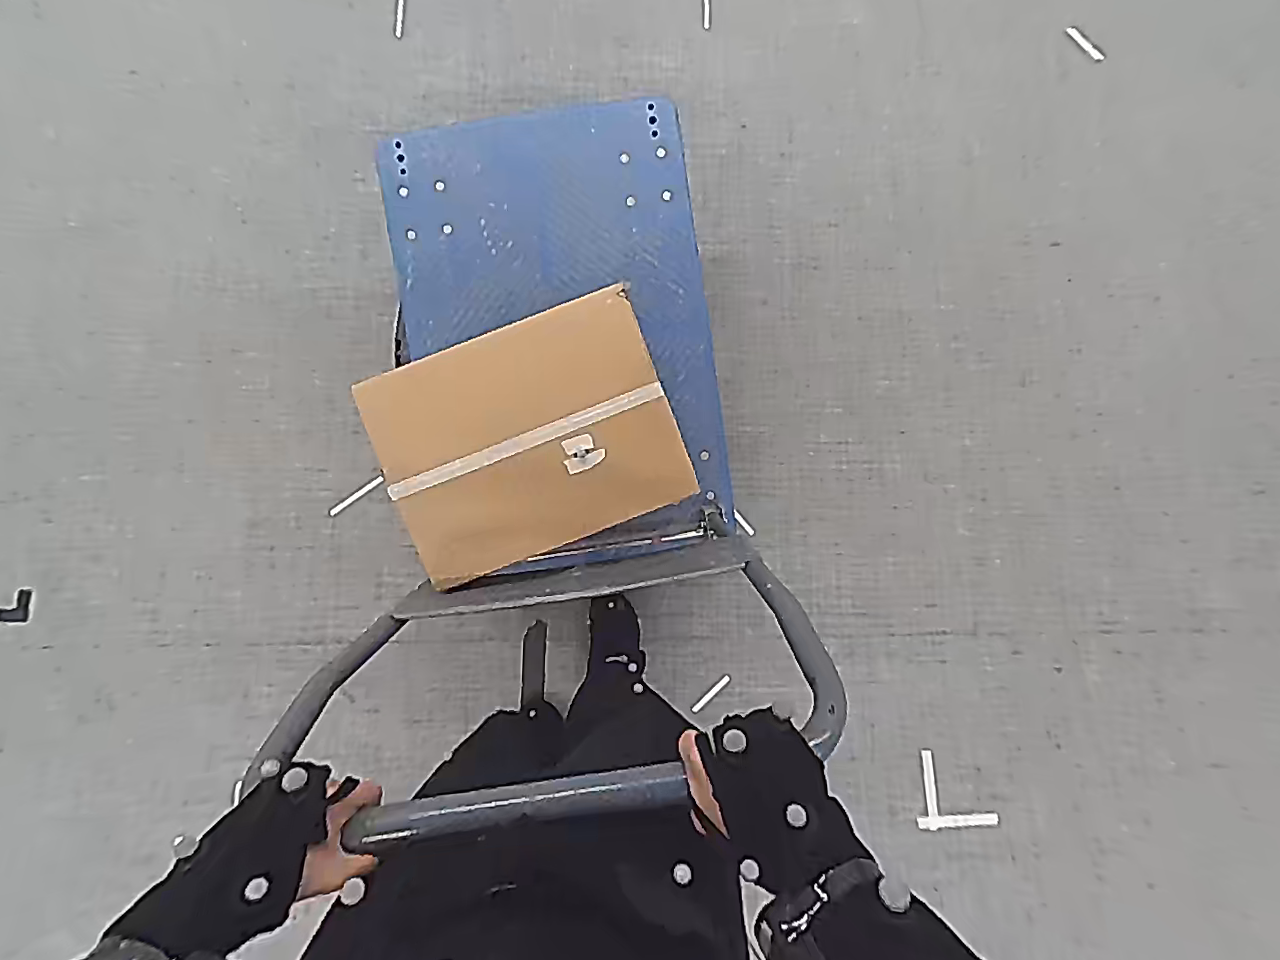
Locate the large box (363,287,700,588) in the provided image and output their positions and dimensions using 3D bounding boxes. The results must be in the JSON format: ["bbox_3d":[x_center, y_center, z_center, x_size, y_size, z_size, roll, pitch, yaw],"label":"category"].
[{"bbox_3d":[-0.156,-0.063,0.910,0.408,0.320,0.320,-21,94,-1],"label":"large box"}]
